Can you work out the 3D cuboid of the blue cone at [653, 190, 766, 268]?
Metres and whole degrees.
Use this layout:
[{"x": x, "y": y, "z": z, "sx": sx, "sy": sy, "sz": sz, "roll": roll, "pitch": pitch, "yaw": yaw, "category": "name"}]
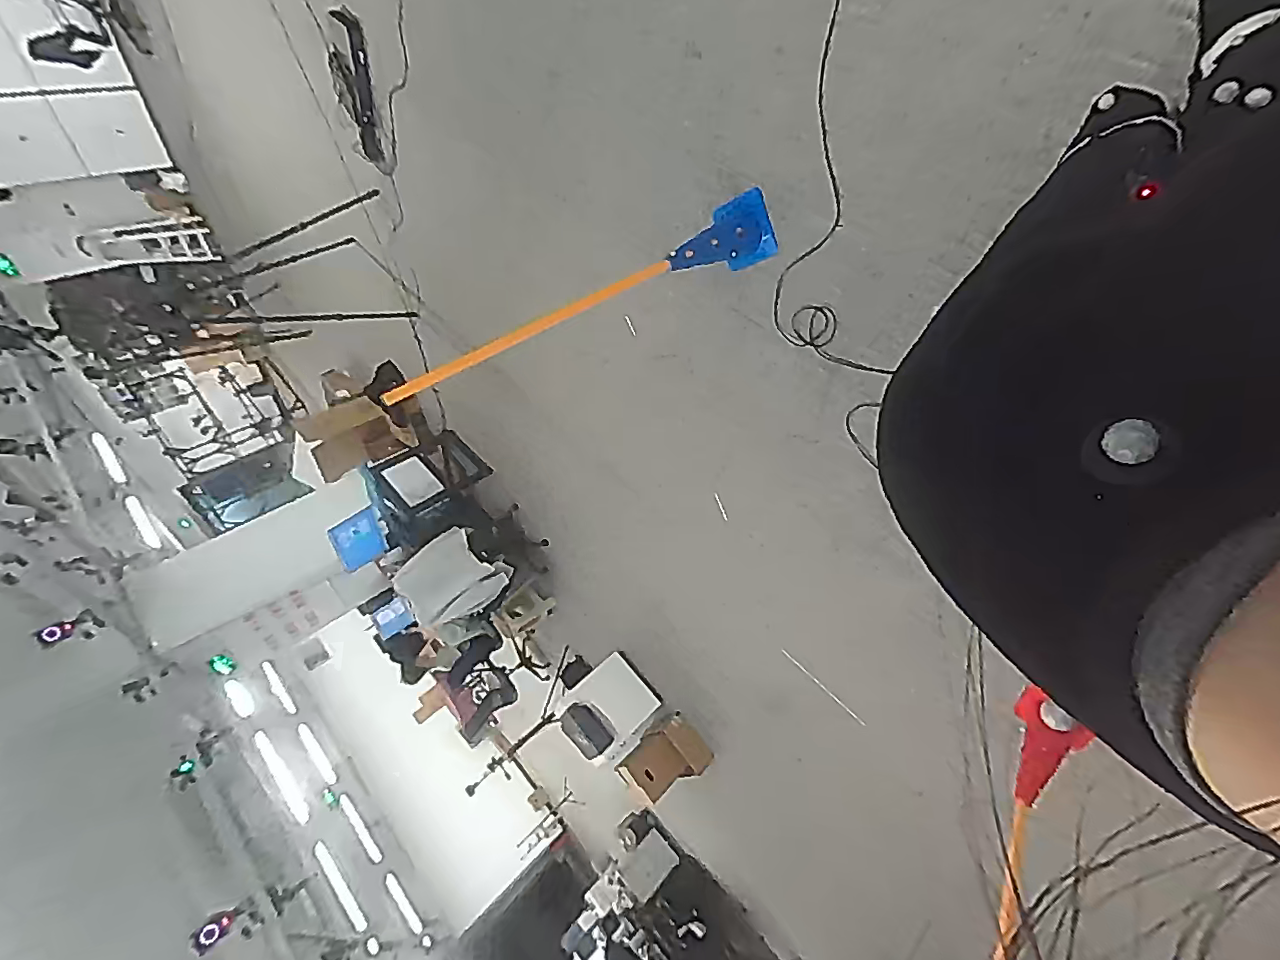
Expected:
[{"x": 0.184, "y": -0.690, "z": 1.597, "sx": 0.193, "sy": 0.380, "sz": 0.192, "roll": 0, "pitch": 119, "yaw": 55, "category": "blue cone"}]
